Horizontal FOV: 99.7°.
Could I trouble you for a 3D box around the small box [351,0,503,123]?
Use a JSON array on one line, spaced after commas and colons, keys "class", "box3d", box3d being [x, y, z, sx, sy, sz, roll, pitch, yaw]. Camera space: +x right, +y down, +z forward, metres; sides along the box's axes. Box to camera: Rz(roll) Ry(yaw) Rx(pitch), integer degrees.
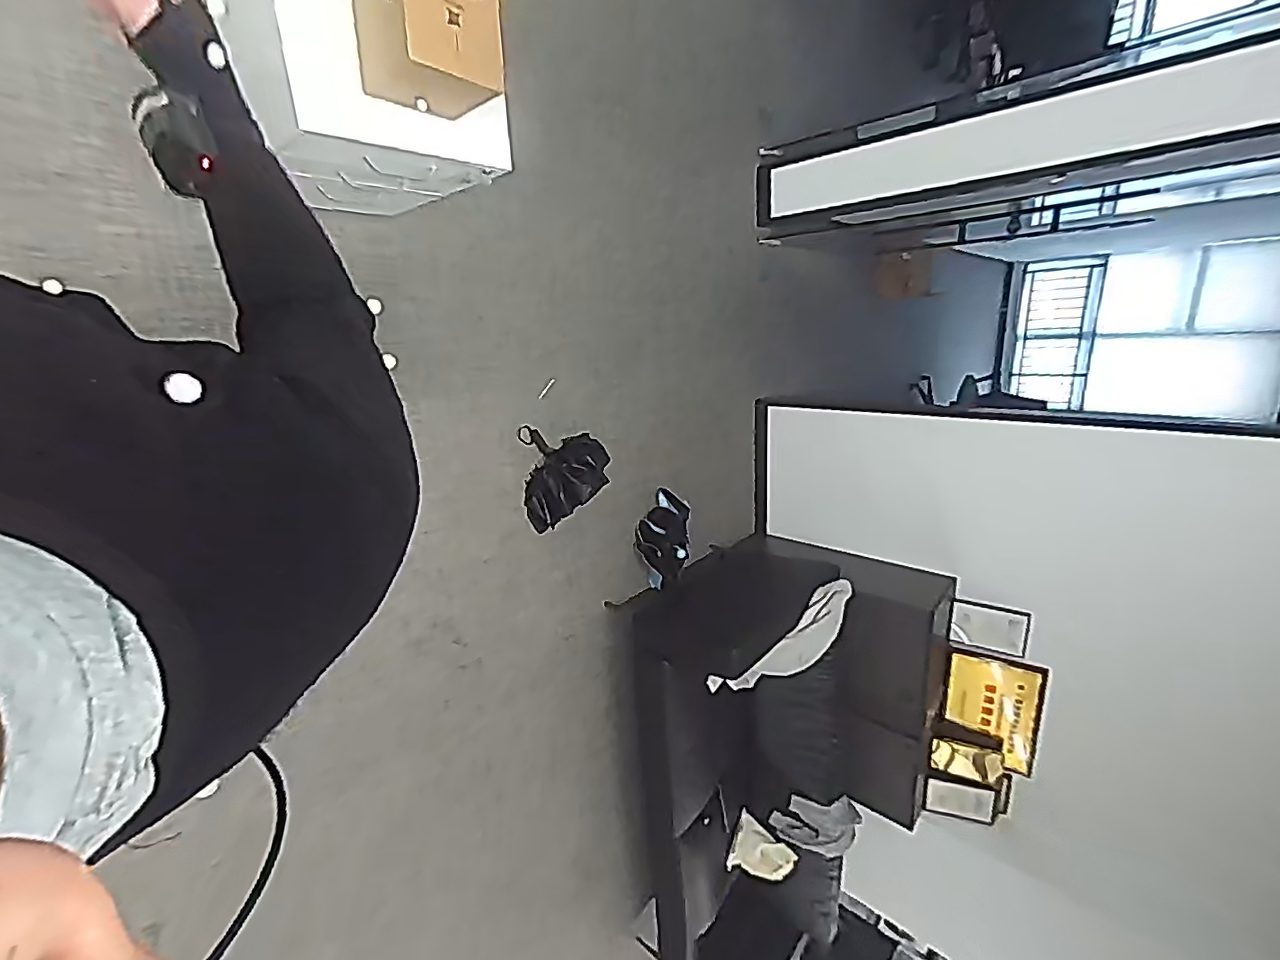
[{"class": "small box", "box3d": [-0.342, -0.711, 0.866, 0.168, 0.176, 0.179, -16, 111, -45]}]
